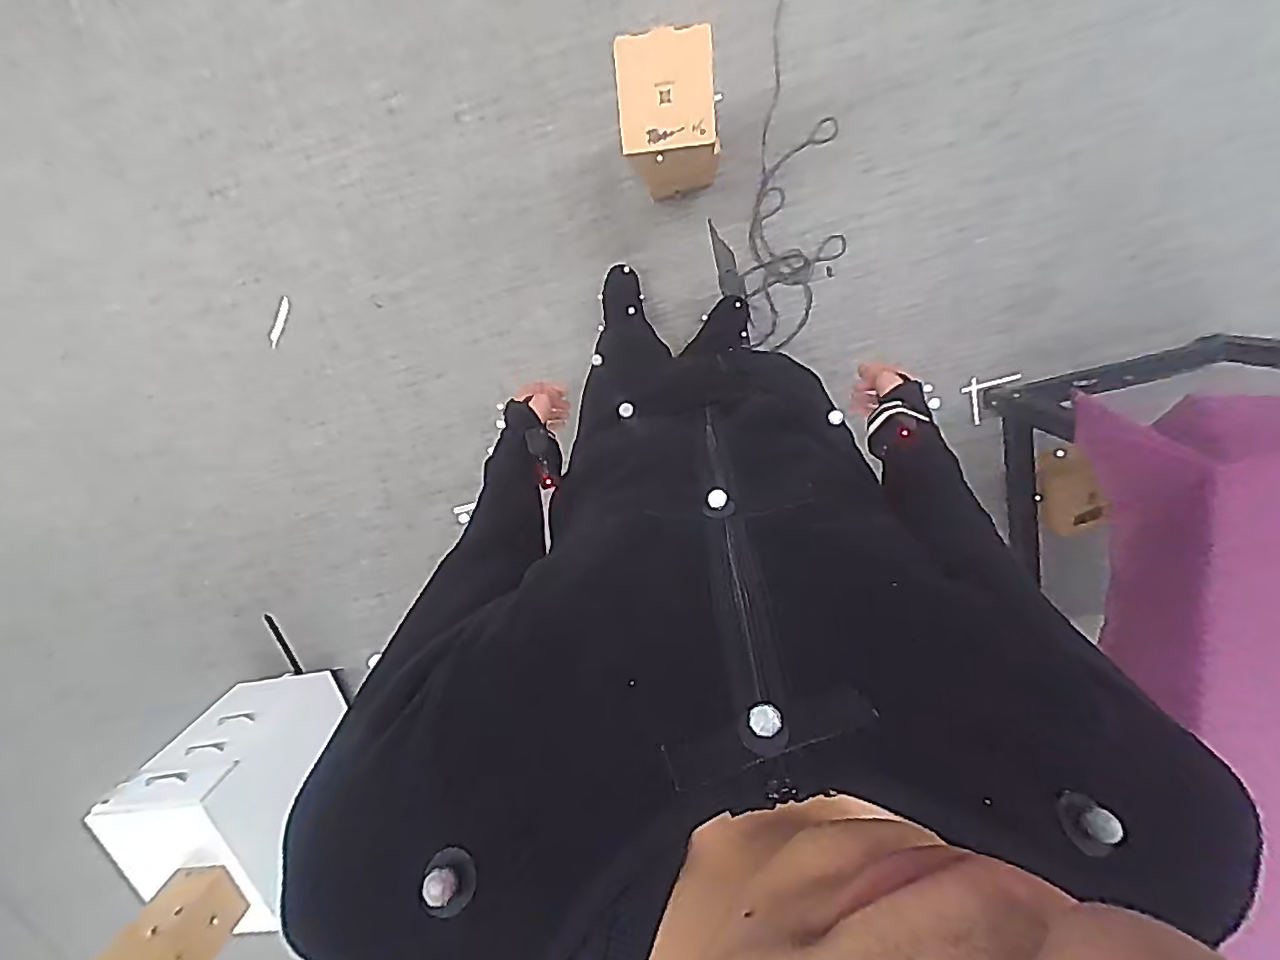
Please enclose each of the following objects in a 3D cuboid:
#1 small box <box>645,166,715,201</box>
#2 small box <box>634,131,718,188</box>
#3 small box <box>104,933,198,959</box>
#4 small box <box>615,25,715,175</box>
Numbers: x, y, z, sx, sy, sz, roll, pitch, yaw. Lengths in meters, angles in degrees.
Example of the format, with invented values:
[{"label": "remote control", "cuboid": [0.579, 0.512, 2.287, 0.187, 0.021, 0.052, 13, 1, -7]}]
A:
[{"label": "small box", "cuboid": [0.080, -0.796, 1.302, 0.168, 0.176, 0.179, -12, 108, 10]}, {"label": "small box", "cuboid": [0.066, -0.742, 1.149, 0.179, 0.176, 0.168, -10, 108, 9]}, {"label": "small box", "cuboid": [-1.263, 1.278, 1.356, 0.179, 0.176, 0.168, -9, 110, 9]}, {"label": "small box", "cuboid": [0.050, -0.686, 0.996, 0.168, 0.176, 0.179, -3, 108, 7]}]
